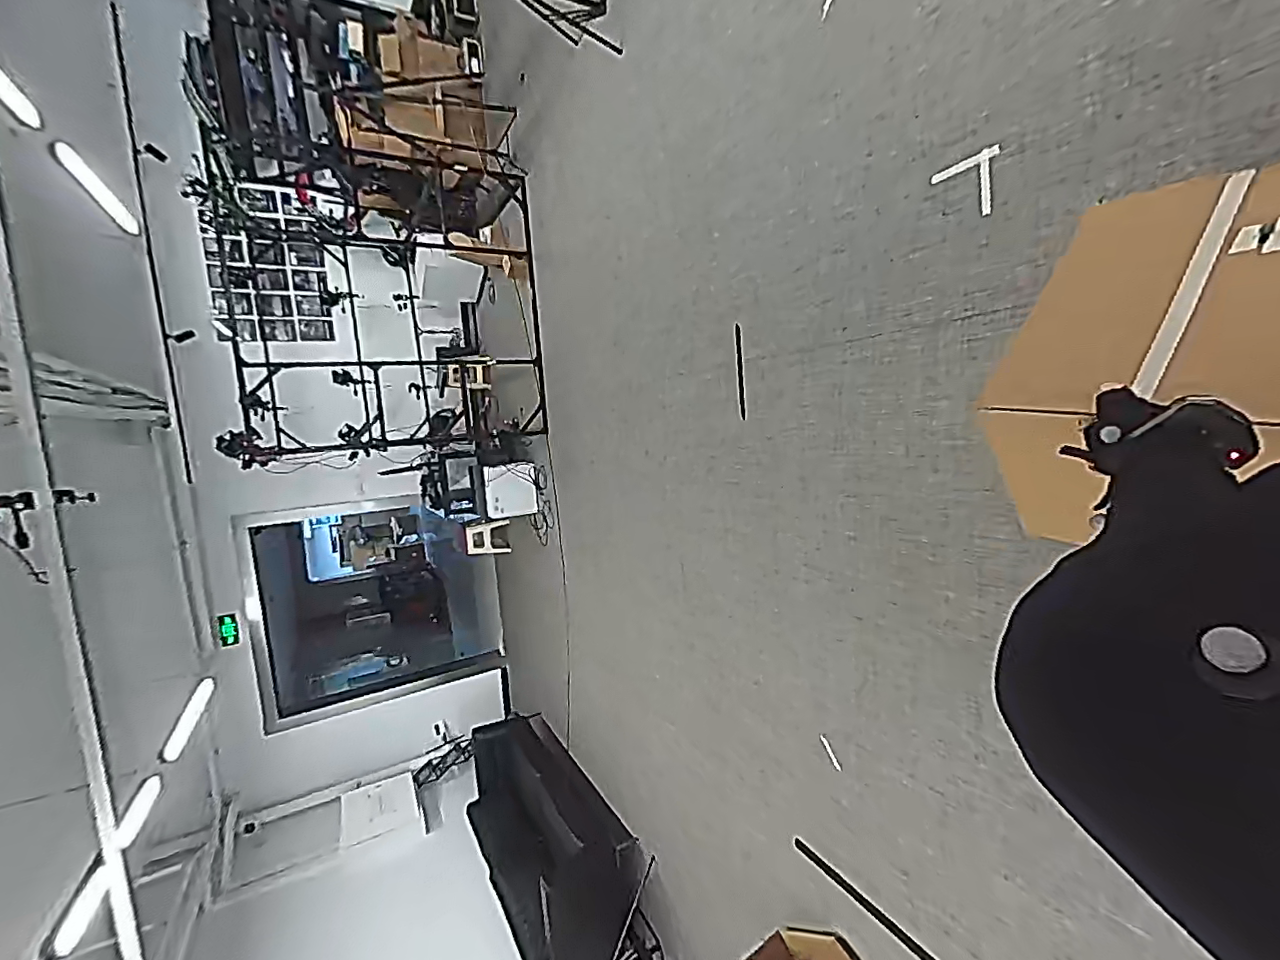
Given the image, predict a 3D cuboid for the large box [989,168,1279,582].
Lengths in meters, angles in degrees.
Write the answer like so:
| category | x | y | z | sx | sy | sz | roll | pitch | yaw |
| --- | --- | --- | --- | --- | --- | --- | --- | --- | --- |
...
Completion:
| category | x | y | z | sx | sy | sz | roll | pitch | yaw |
| --- | --- | --- | --- | --- | --- | --- | --- | --- | --- |
| large box | 0.735 | -0.132 | 0.706 | 0.320 | 0.408 | 0.320 | 46 | 163 | -33 |
